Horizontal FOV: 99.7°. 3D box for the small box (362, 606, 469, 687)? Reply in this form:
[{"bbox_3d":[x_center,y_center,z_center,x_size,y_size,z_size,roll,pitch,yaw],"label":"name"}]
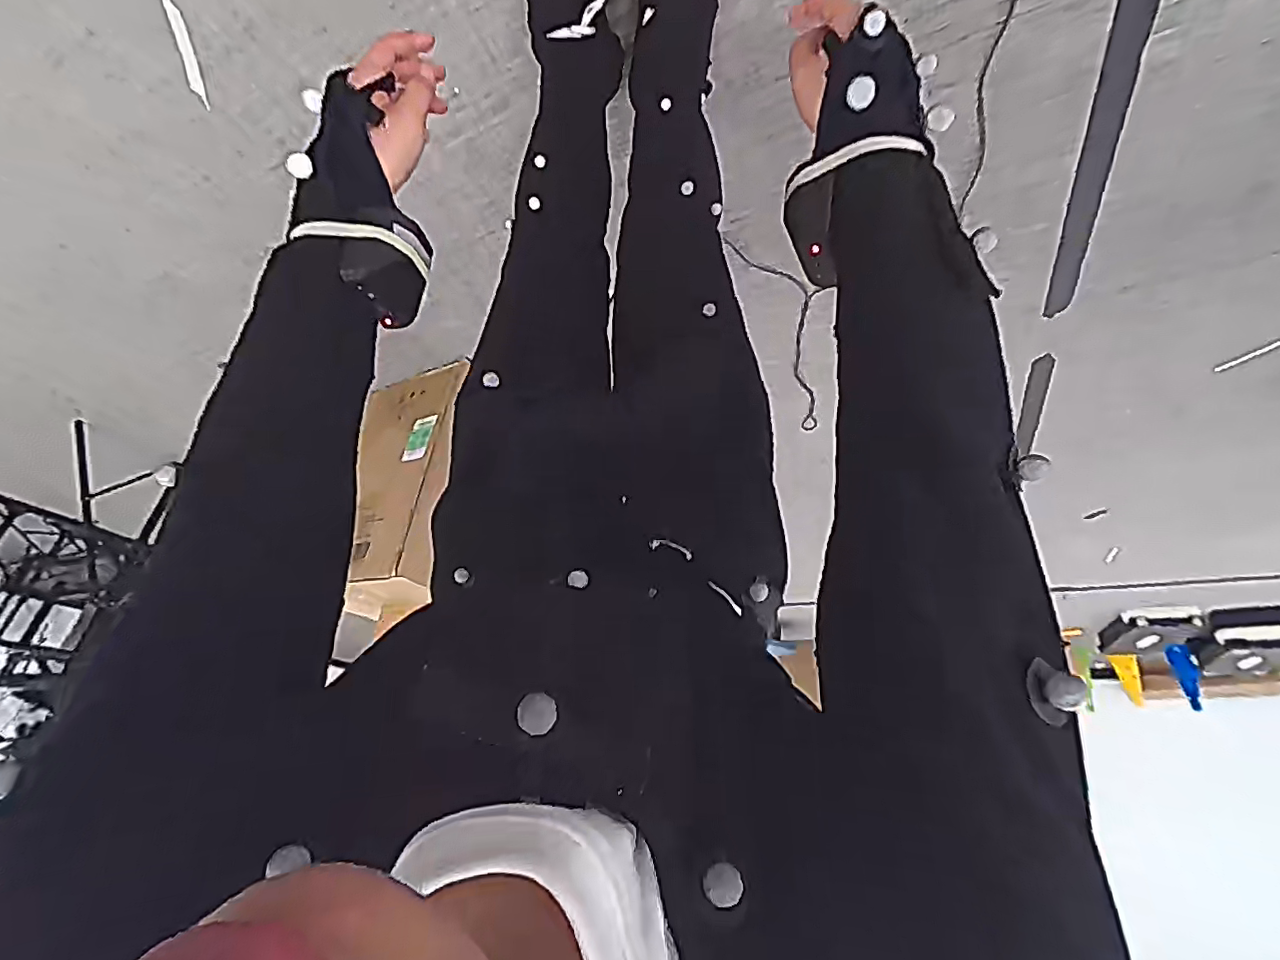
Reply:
[{"bbox_3d":[-0.552,0.418,1.357,0.179,0.176,0.168,-8,149,24],"label":"small box"}]
